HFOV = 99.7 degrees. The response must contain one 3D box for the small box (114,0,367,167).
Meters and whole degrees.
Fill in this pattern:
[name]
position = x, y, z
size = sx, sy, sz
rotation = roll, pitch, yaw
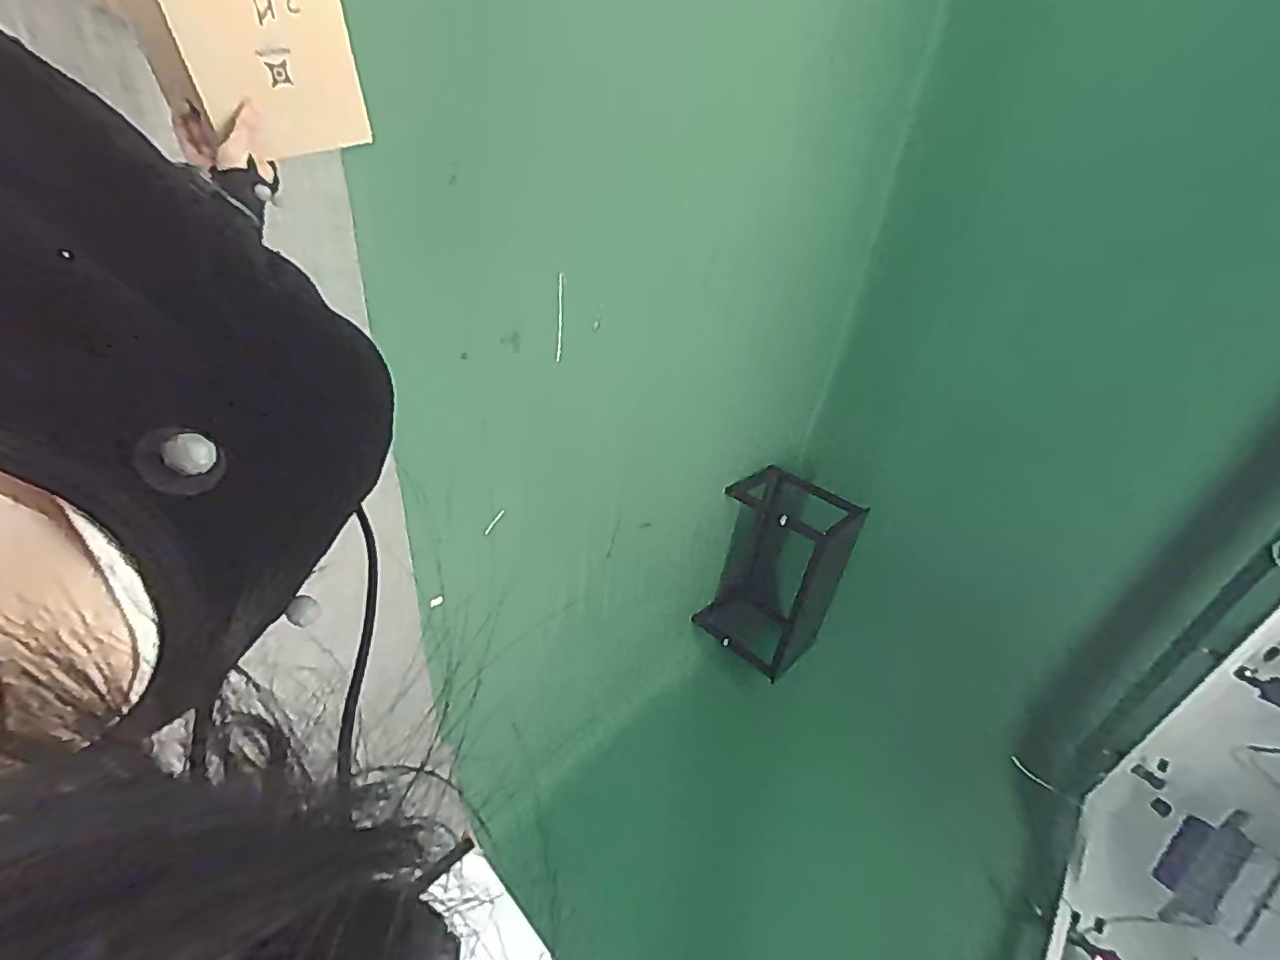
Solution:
[small box]
position = -0.440, -0.480, 0.595
size = 0.168, 0.176, 0.179
rotation = -36, 153, -32
